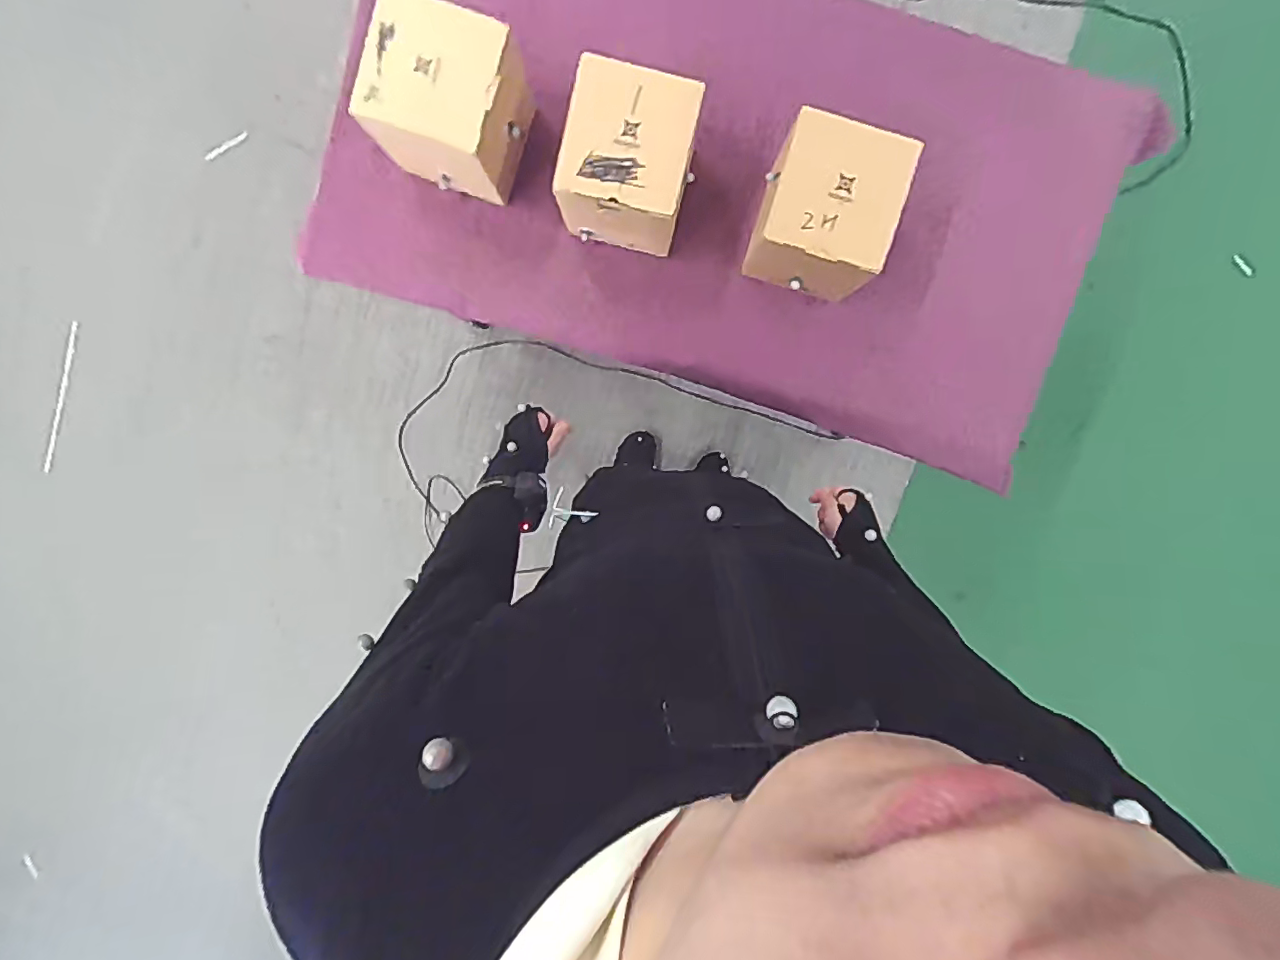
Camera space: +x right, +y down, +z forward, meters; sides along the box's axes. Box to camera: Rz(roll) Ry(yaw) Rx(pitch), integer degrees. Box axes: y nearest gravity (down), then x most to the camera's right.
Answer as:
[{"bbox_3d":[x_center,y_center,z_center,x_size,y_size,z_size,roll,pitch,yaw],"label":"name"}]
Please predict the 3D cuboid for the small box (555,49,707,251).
[{"bbox_3d":[-0.012,-0.453,0.775,0.168,0.176,0.179,14,95,-1],"label":"small box"}]

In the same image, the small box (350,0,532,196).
[{"bbox_3d":[-0.266,-0.534,0.767,0.179,0.176,0.168,19,95,-3],"label":"small box"}]

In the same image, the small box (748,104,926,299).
[{"bbox_3d":[0.268,-0.385,0.781,0.168,0.176,0.179,17,96,-1],"label":"small box"}]
